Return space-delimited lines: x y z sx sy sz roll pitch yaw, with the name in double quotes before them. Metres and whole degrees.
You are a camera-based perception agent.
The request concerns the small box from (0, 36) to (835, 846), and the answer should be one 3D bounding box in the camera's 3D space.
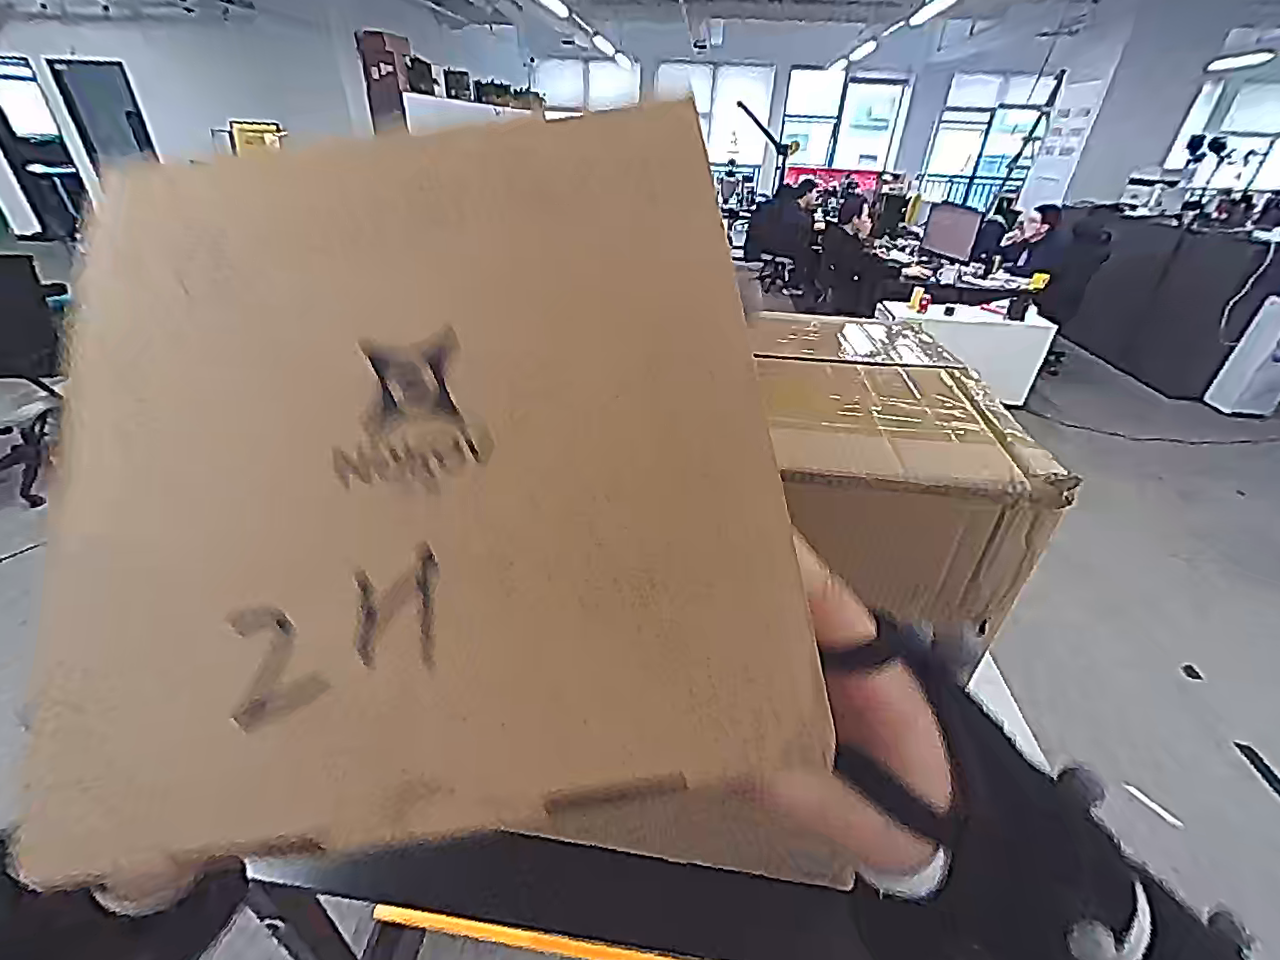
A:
"small box" -0.052 -0.005 0.200 0.168 0.176 0.179 -9 76 0
